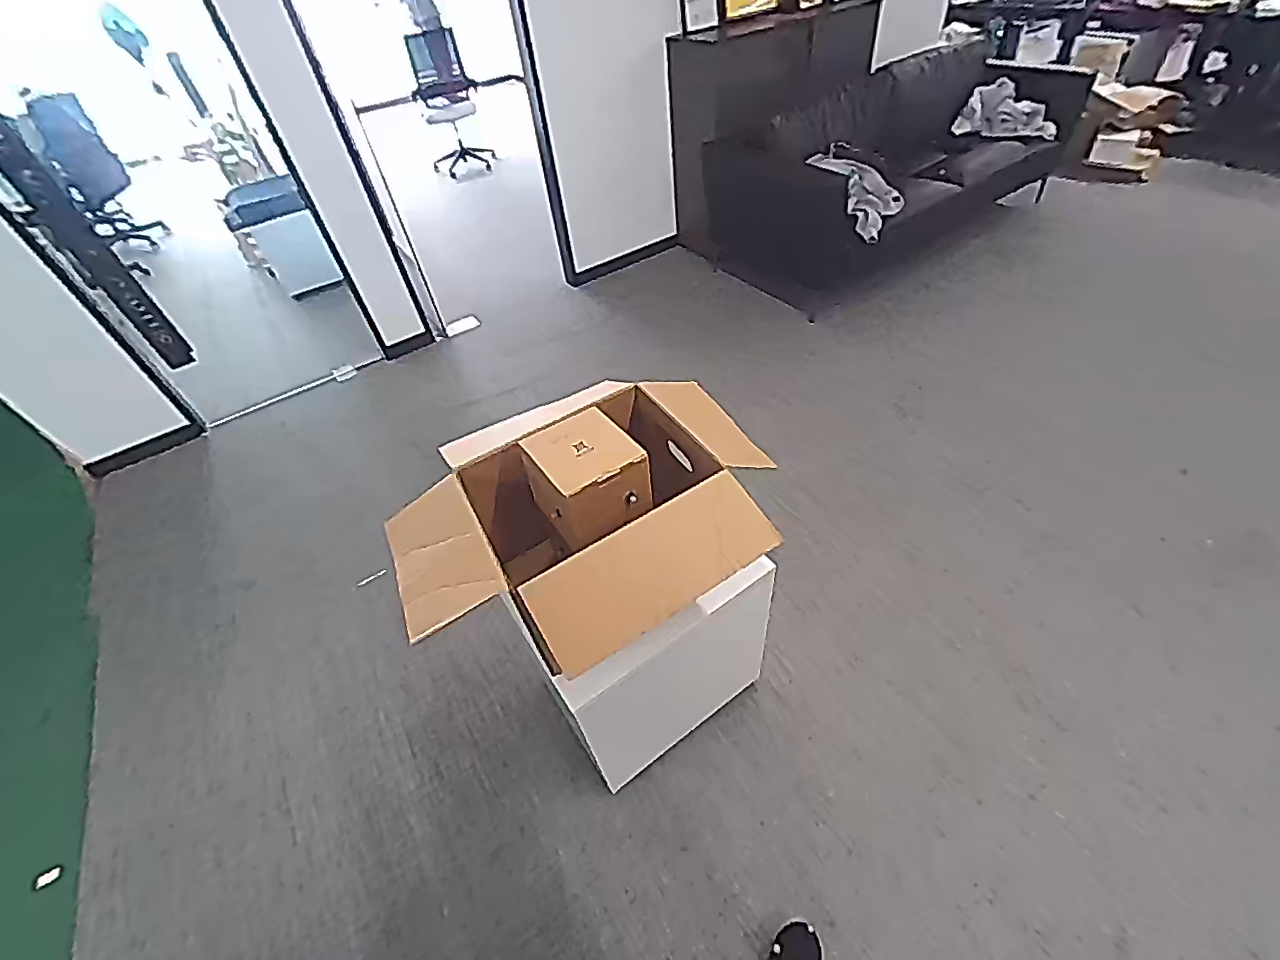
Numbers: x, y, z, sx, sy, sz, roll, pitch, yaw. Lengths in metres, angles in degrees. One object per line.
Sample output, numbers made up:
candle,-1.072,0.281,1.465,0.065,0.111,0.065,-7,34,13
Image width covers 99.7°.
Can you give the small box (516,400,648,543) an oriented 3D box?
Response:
small box,-0.099,-0.009,0.979,0.168,0.176,0.179,-28,48,-22
